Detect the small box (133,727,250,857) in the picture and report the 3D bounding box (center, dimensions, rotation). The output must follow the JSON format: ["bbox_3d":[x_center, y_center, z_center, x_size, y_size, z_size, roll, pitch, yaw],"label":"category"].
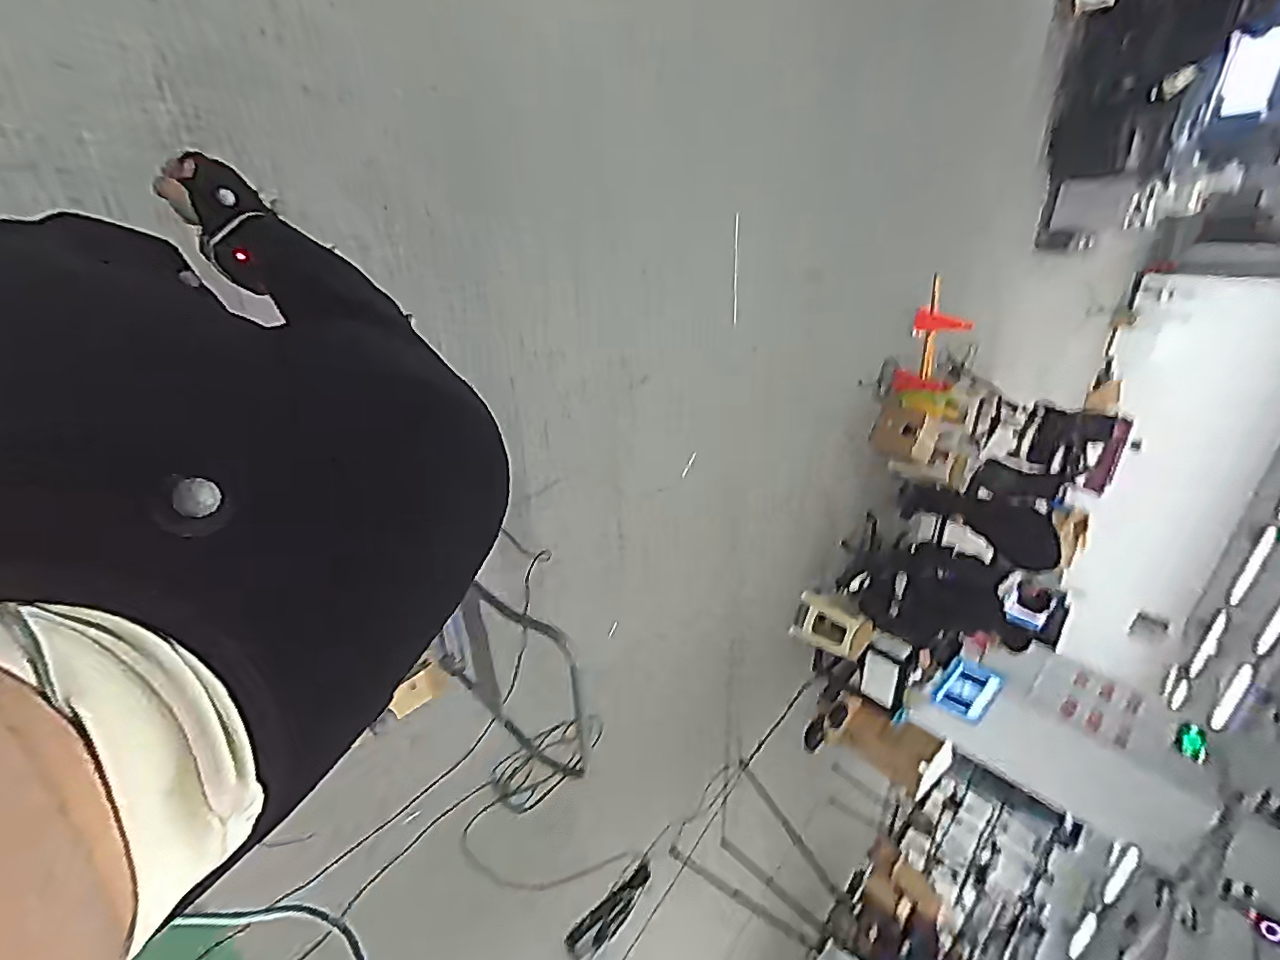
[{"bbox_3d":[-1.081,0.744,1.306,0.168,0.176,0.179,-26,124,-37],"label":"small box"}]
